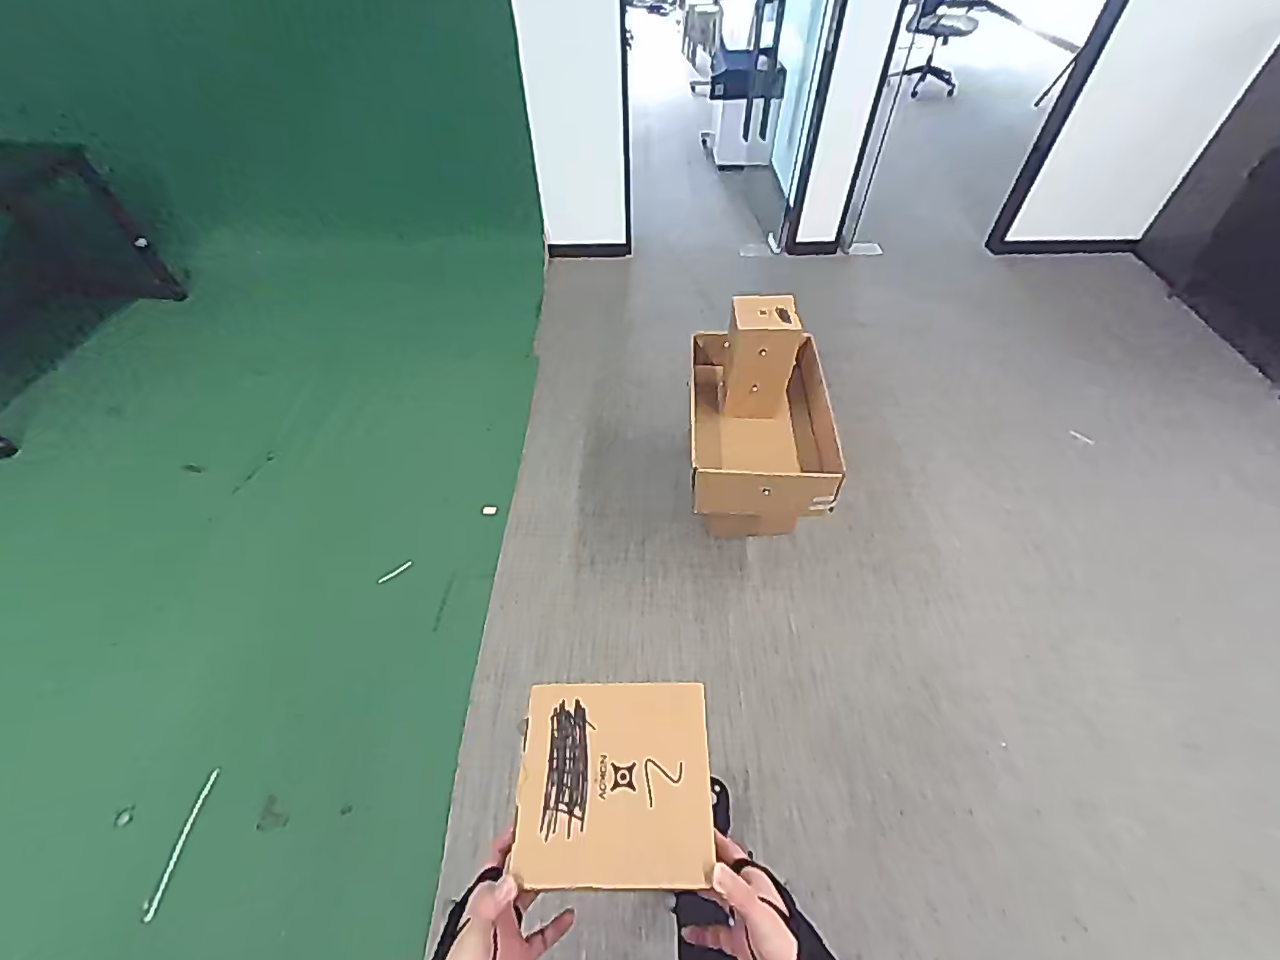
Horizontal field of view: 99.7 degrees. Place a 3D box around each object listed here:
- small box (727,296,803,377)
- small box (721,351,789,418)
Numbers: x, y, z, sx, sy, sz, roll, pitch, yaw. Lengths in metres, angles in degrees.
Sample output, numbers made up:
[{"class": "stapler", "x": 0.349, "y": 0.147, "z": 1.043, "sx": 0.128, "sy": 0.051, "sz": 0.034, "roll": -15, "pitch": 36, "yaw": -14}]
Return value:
[{"class": "small box", "x": 0.352, "y": -0.409, "z": 1.556, "sx": 0.179, "sy": 0.176, "sz": 0.168, "roll": 0, "pitch": 51, "yaw": 2}, {"class": "small box", "x": 0.353, "y": -0.307, "z": 1.685, "sx": 0.179, "sy": 0.176, "sz": 0.168, "roll": 2, "pitch": 50, "yaw": 2}]
